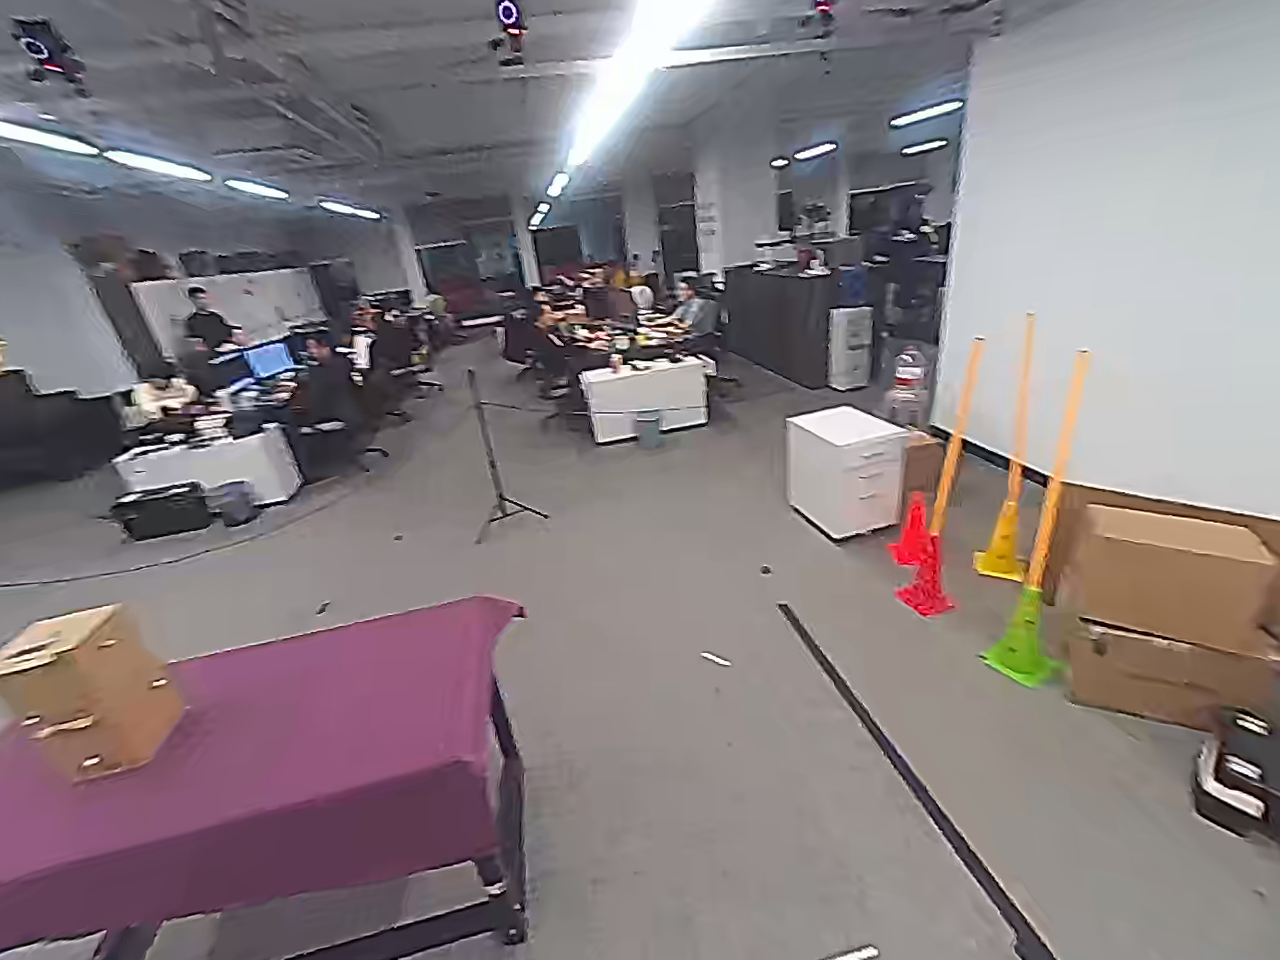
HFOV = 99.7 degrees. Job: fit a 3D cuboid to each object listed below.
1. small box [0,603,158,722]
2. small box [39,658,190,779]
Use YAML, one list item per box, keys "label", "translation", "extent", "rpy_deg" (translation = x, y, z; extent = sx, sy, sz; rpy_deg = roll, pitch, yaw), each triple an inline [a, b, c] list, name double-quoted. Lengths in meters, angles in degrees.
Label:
- label: "small box"
  translation: [-1.239, 0.410, 1.206]
  extent: [0.168, 0.176, 0.179]
  rpy_deg: [-13, 24, -12]
- label: "small box"
  translation: [-1.217, 0.558, 1.274]
  extent: [0.168, 0.176, 0.179]
  rpy_deg: [-12, 25, -8]
